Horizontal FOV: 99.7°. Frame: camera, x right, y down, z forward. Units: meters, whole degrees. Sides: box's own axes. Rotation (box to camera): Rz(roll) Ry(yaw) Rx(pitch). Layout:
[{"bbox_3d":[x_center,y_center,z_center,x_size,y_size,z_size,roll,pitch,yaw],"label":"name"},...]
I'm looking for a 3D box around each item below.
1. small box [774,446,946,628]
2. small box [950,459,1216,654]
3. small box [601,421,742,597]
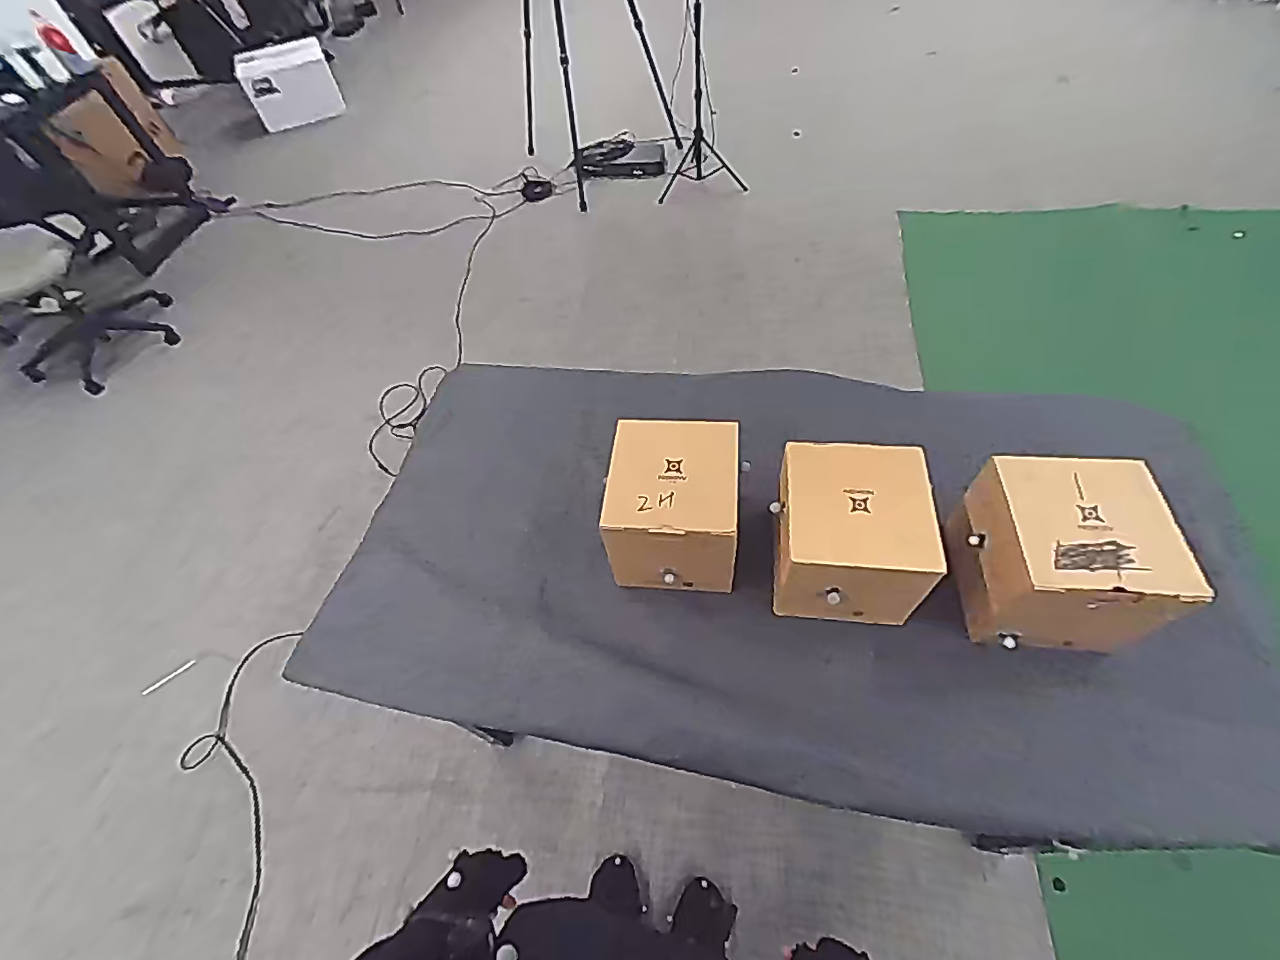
[{"bbox_3d":[0.265,0.077,0.695,0.168,0.176,0.179,3,54,9],"label":"small box"},{"bbox_3d":[0.501,0.096,0.650,0.168,0.176,0.179,3,54,9],"label":"small box"},{"bbox_3d":[0.050,0.041,0.745,0.168,0.176,0.179,2,55,8],"label":"small box"}]
